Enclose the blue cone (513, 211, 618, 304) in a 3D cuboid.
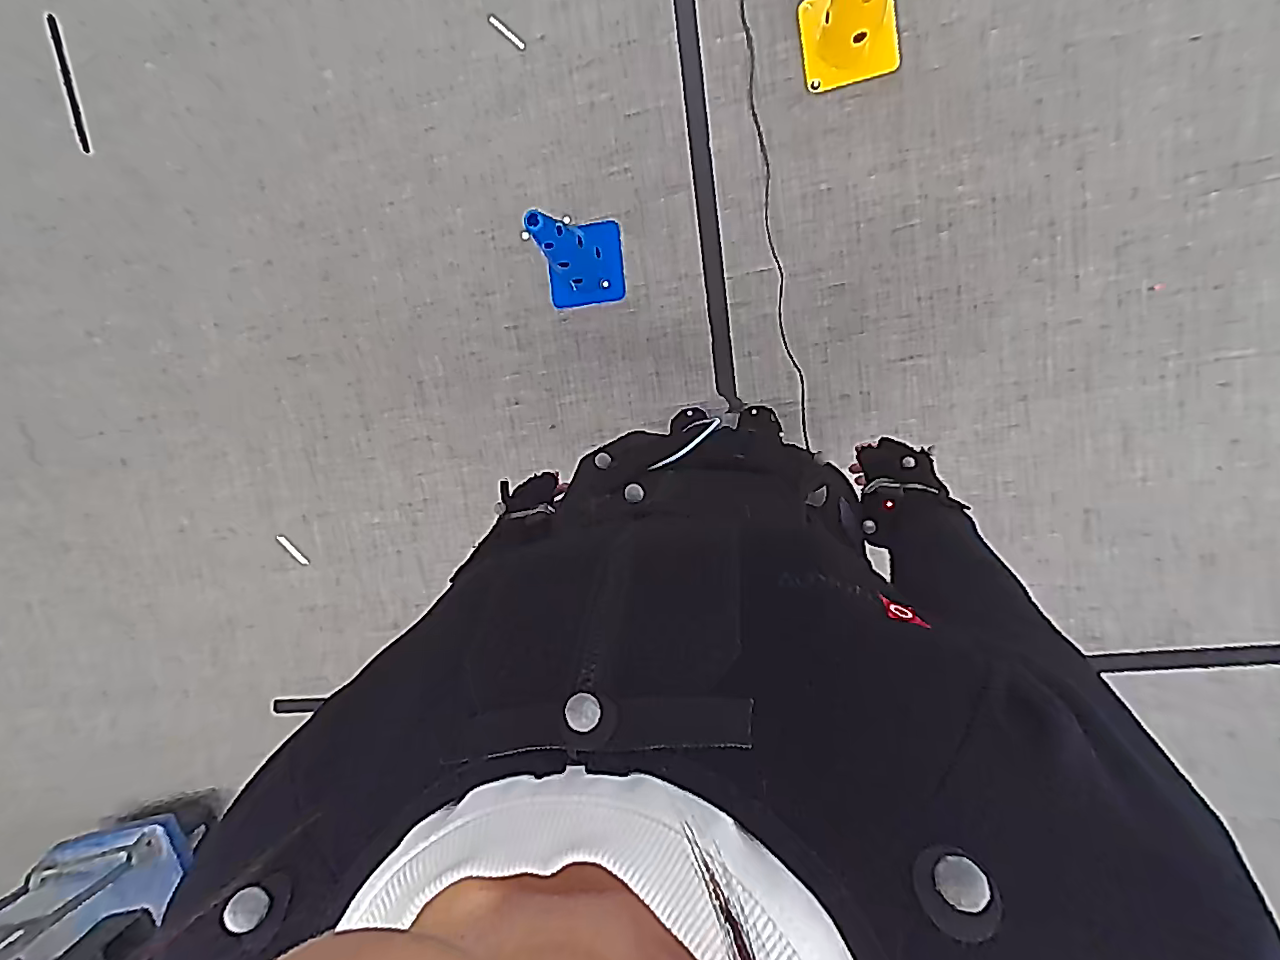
[{"bbox_3d":[-0.185,-0.539,1.240,0.192,0.380,0.193,-2,98,12],"label":"blue cone"}]
